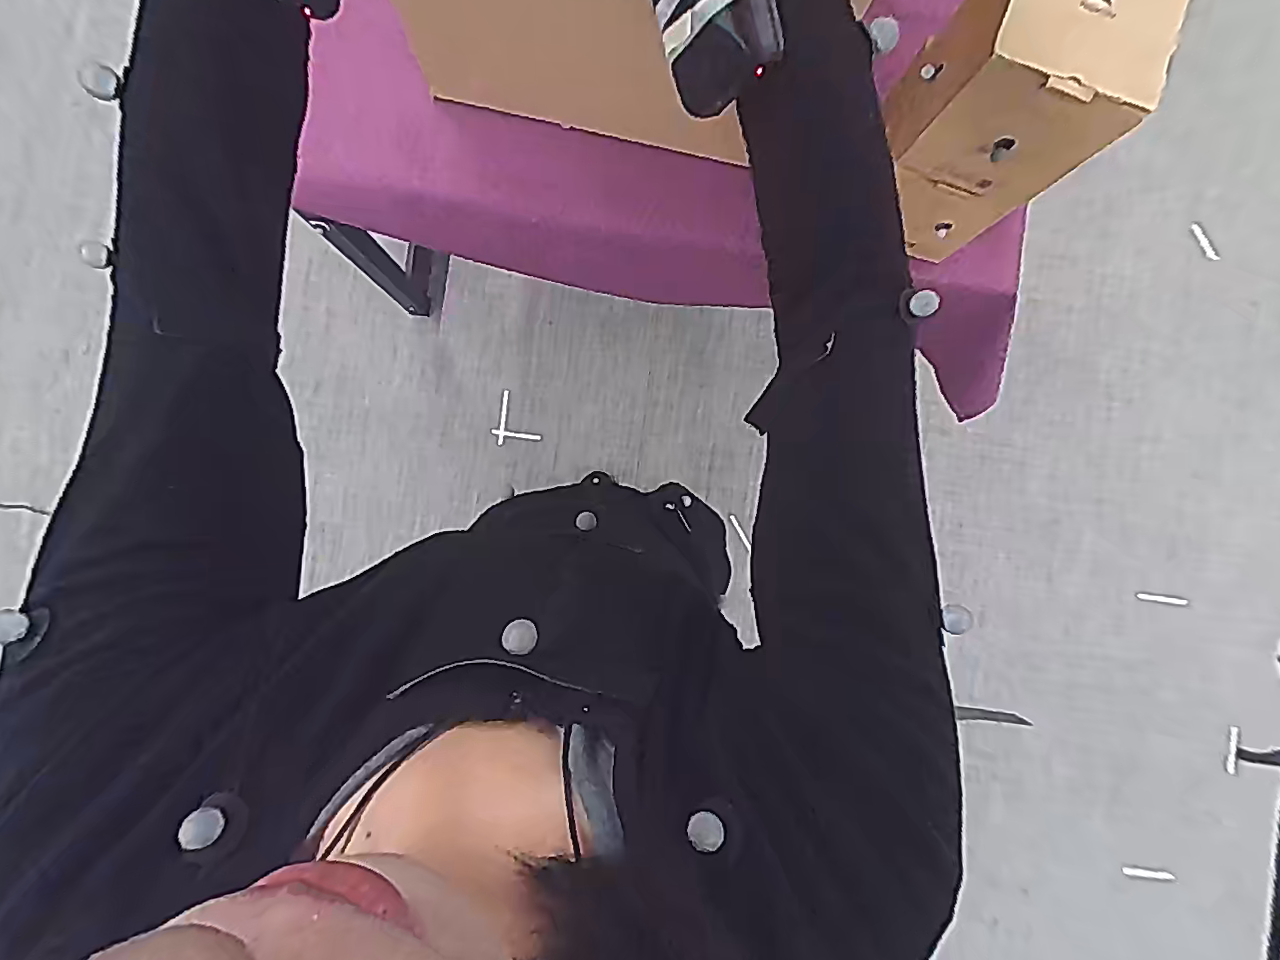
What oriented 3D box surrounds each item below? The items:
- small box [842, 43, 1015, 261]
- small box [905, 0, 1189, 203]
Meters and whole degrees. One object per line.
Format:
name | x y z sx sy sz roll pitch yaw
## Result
small box | 0.404 -0.435 0.750 0.168 0.176 0.179 16 86 -3
small box | 0.422 -0.442 0.586 0.168 0.176 0.179 20 87 -3
